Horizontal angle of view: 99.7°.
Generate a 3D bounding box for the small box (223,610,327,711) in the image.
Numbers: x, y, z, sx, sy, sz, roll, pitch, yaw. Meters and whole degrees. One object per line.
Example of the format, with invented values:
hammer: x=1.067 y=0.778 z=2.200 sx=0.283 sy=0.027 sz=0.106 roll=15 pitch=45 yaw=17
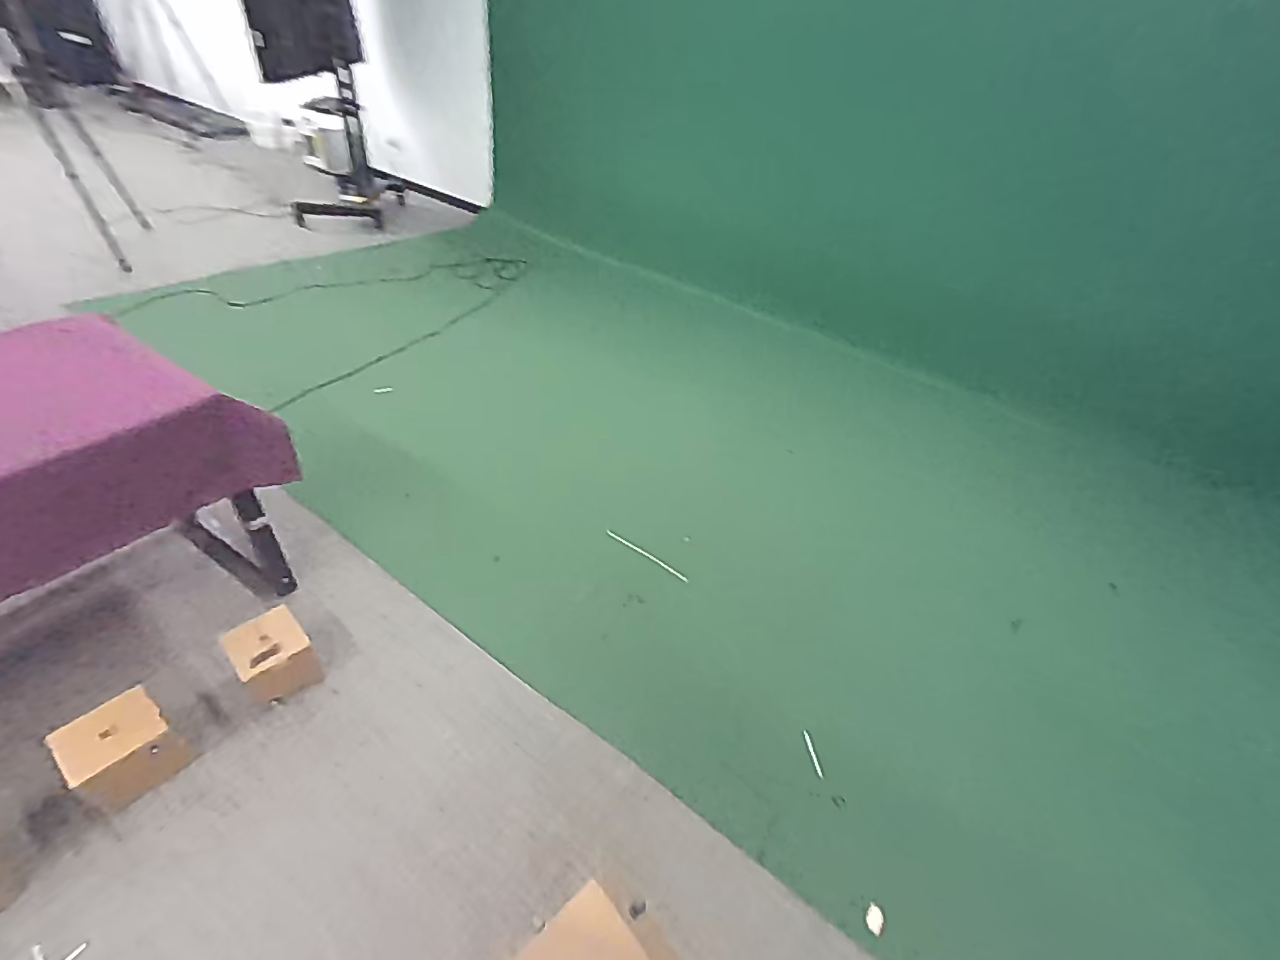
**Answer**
small box: x=-0.991 y=0.501 z=1.481 sx=0.179 sy=0.176 sz=0.168 roll=35 pitch=45 yaw=29
